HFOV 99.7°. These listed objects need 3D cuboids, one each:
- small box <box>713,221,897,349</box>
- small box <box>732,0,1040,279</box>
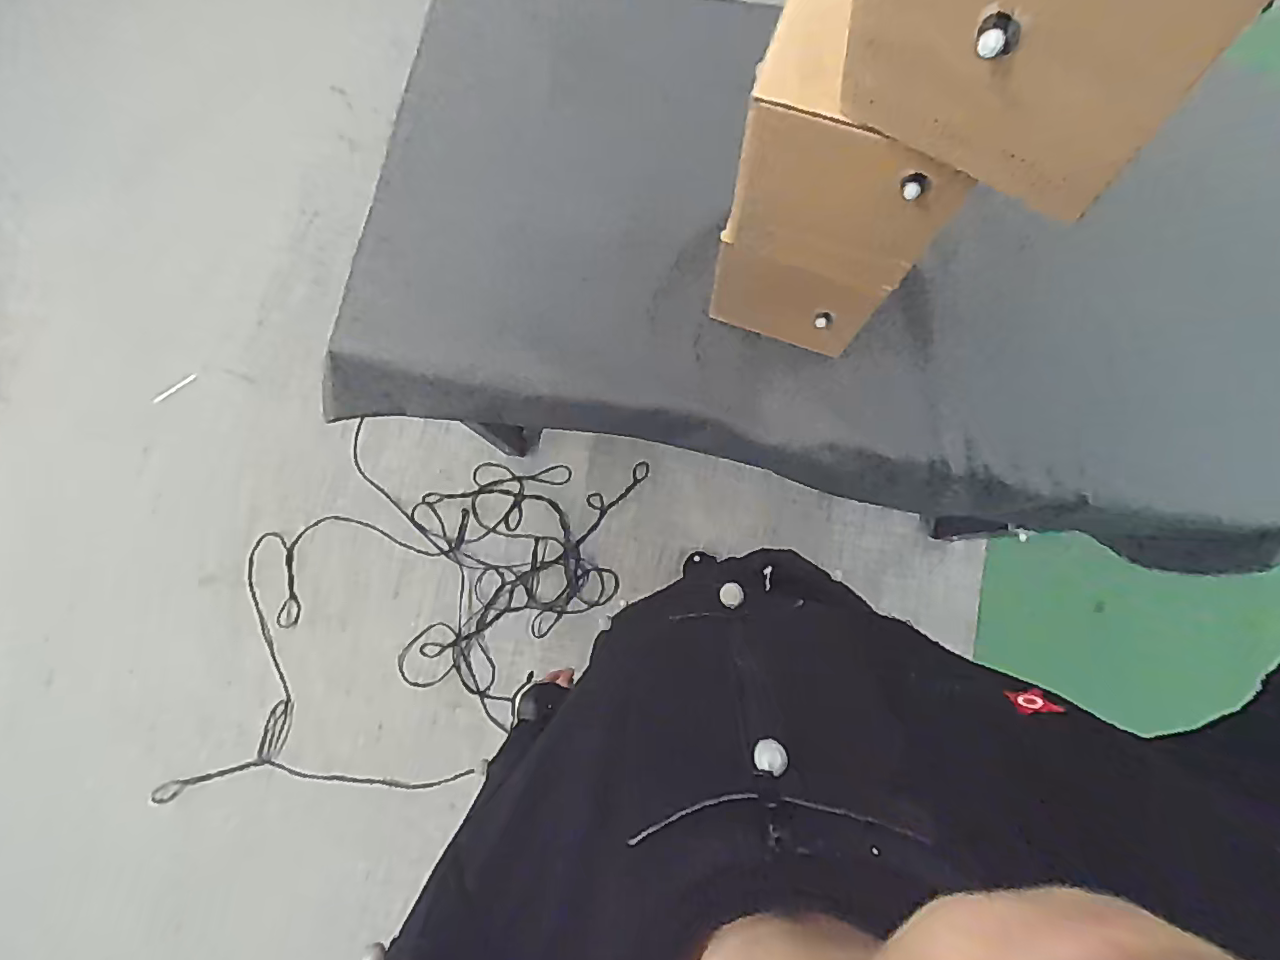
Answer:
[{"bbox_3d":[0.196,-0.272,0.628,0.179,0.176,0.168,19,81,6],"label":"small box"},{"bbox_3d":[0.191,-0.304,0.469,0.179,0.176,0.168,19,81,5],"label":"small box"}]
